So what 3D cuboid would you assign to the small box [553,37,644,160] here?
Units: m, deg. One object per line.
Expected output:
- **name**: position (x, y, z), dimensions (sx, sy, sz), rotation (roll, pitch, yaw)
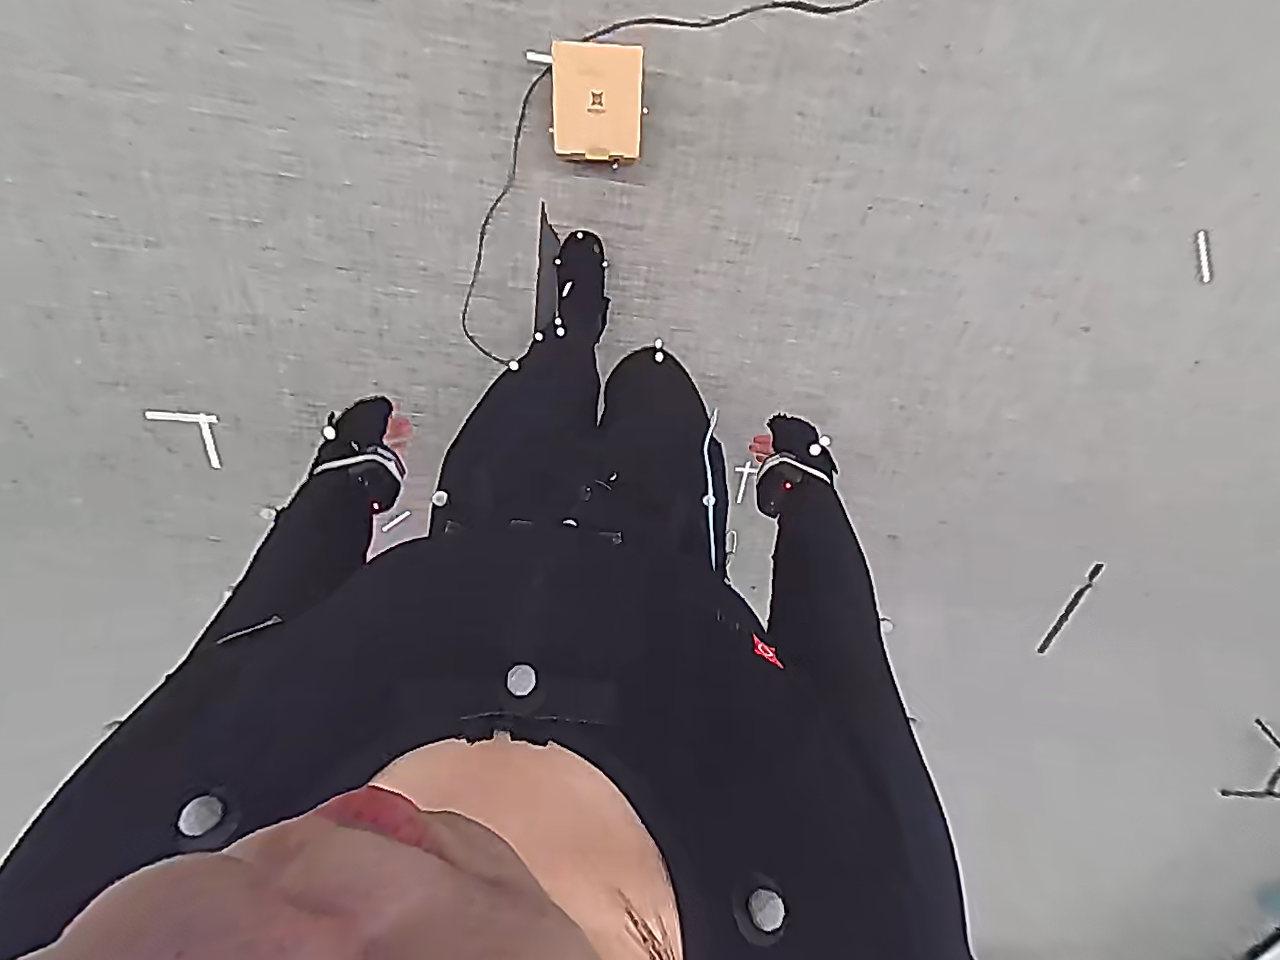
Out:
- **small box**: position (-0.081, -0.743, 1.072), dimensions (0.168, 0.176, 0.179), rotation (1, 117, -4)
